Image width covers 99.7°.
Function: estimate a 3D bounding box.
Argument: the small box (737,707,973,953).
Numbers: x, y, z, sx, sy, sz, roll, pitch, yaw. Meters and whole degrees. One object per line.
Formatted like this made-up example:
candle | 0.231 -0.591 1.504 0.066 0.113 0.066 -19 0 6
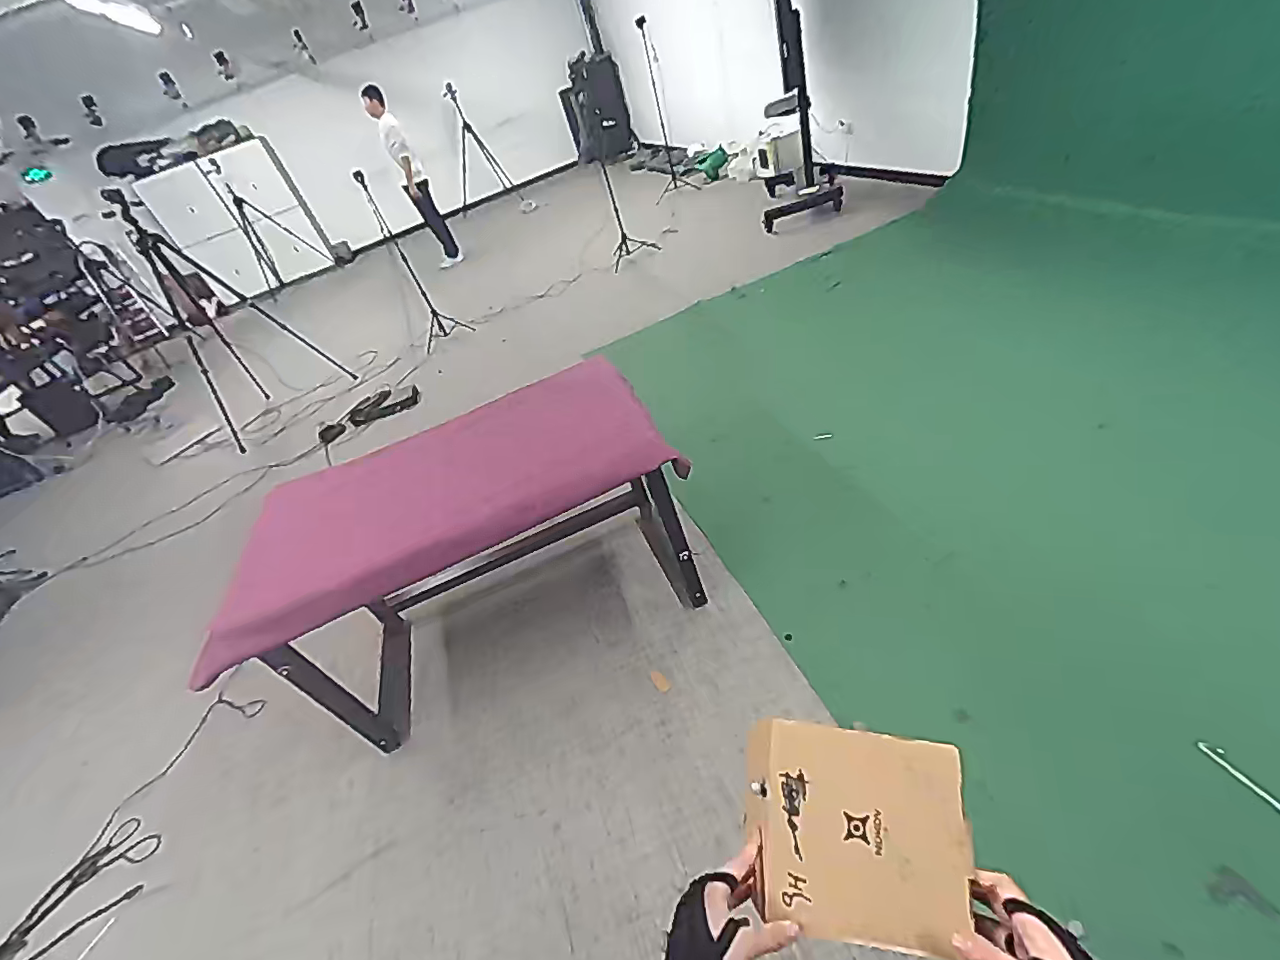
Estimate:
small box | 0.201 0.334 0.551 0.179 0.176 0.168 6 65 7
